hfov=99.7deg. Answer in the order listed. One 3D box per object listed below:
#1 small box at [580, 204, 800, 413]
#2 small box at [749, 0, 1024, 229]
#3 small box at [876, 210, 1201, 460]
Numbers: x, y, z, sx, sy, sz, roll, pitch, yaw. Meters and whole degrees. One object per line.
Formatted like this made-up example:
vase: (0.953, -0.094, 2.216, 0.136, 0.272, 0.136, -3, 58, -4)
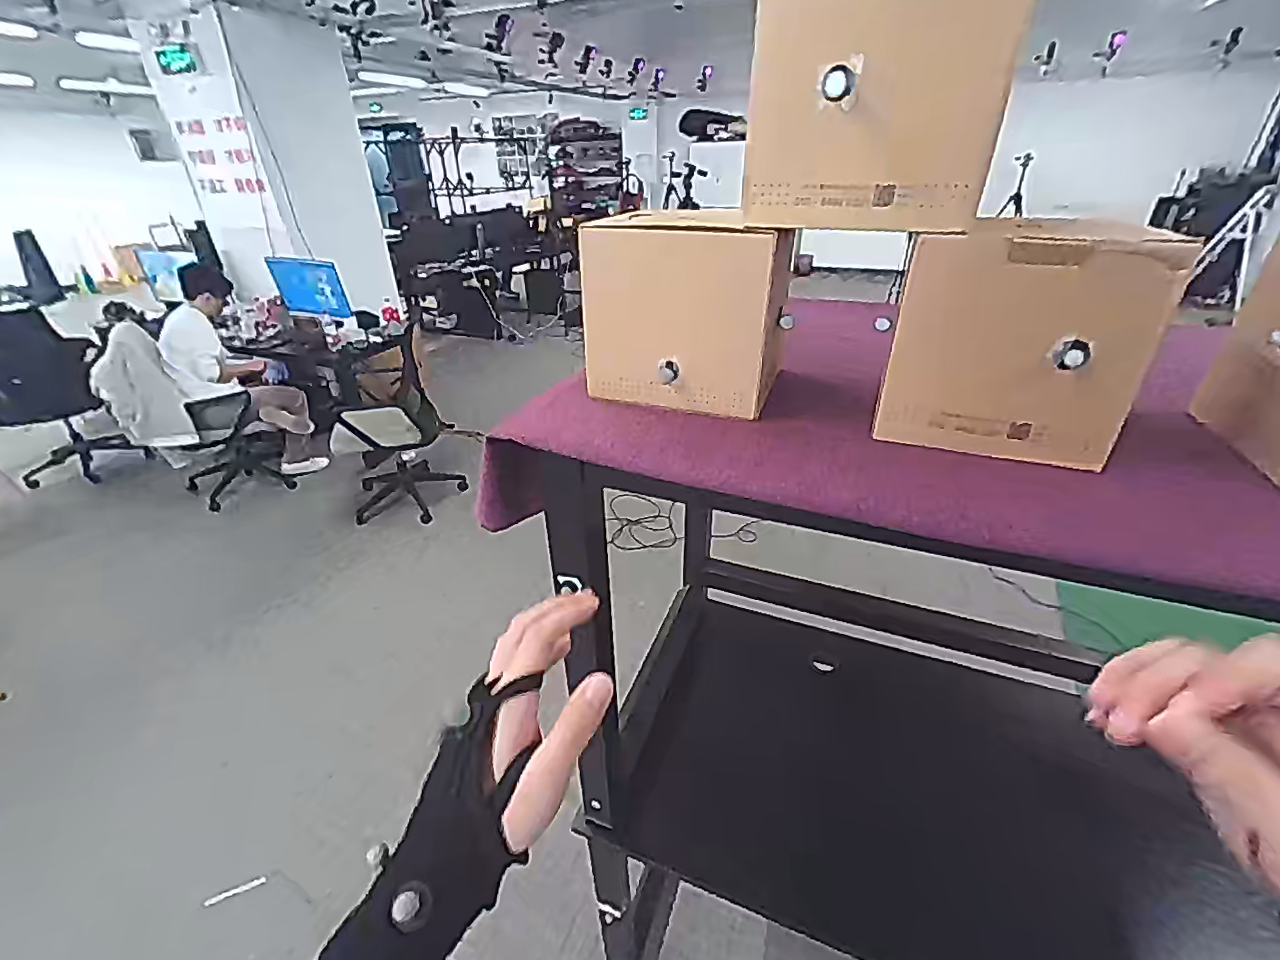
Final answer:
small box: (0.055, -0.180, 0.555, 0.179, 0.176, 0.168, 10, 32, 17)
small box: (0.188, -0.299, 0.433, 0.168, 0.176, 0.179, 11, 31, 20)
small box: (0.309, -0.133, 0.466, 0.168, 0.176, 0.179, 12, 32, 21)
